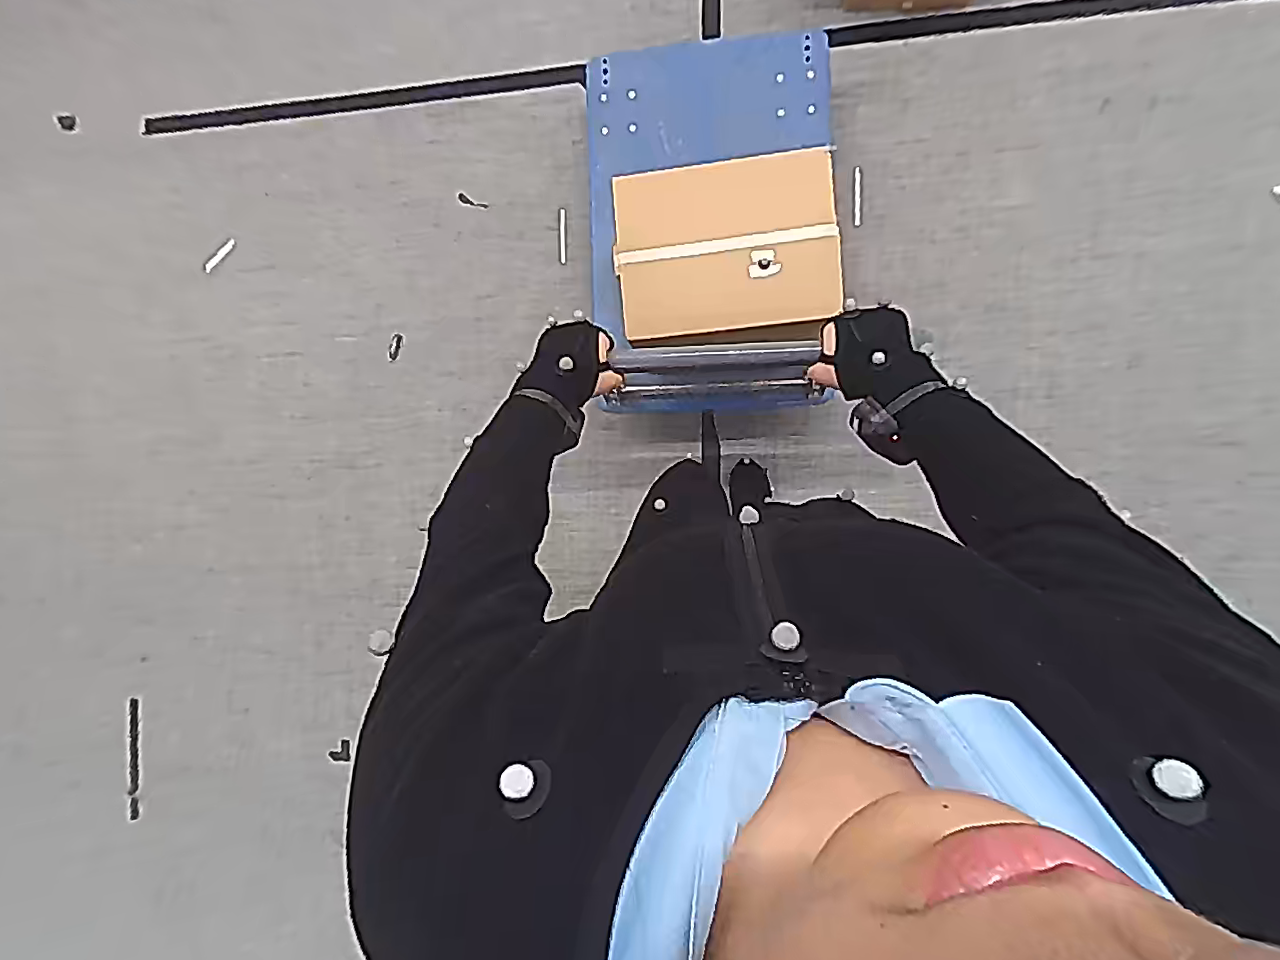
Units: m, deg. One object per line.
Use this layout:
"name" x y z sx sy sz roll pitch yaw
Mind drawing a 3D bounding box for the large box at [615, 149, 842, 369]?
"large box" 0.176 -0.441 1.164 0.408 0.320 0.320 -5 91 6
